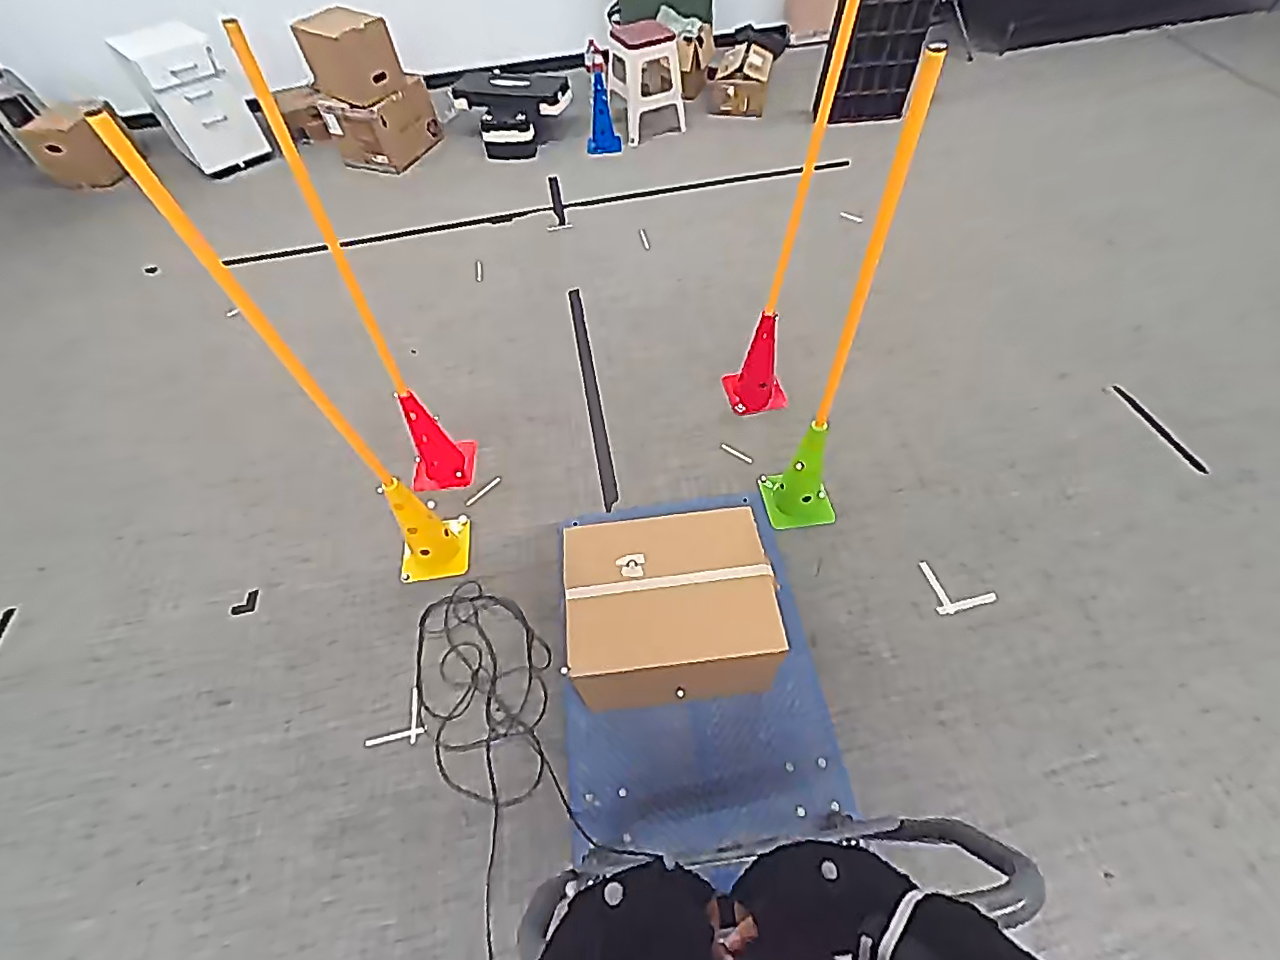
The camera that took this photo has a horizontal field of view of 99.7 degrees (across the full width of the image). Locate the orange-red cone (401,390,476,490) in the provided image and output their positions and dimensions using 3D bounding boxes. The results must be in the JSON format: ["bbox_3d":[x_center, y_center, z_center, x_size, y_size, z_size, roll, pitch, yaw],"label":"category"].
[{"bbox_3d":[-0.680,-0.148,1.730,0.198,0.360,0.199,-4,53,0],"label":"orange-red cone"}]

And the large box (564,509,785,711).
[{"bbox_3d":[0.063,0.295,1.187,0.408,0.320,0.320,-7,55,0],"label":"large box"}]

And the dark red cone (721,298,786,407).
[{"bbox_3d":[0.410,-0.442,1.844,0.201,0.394,0.202,-10,55,-6],"label":"dark red cone"}]

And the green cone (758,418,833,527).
[{"bbox_3d":[0.484,-0.043,1.577,0.202,0.368,0.200,-7,54,-3],"label":"green cone"}]
